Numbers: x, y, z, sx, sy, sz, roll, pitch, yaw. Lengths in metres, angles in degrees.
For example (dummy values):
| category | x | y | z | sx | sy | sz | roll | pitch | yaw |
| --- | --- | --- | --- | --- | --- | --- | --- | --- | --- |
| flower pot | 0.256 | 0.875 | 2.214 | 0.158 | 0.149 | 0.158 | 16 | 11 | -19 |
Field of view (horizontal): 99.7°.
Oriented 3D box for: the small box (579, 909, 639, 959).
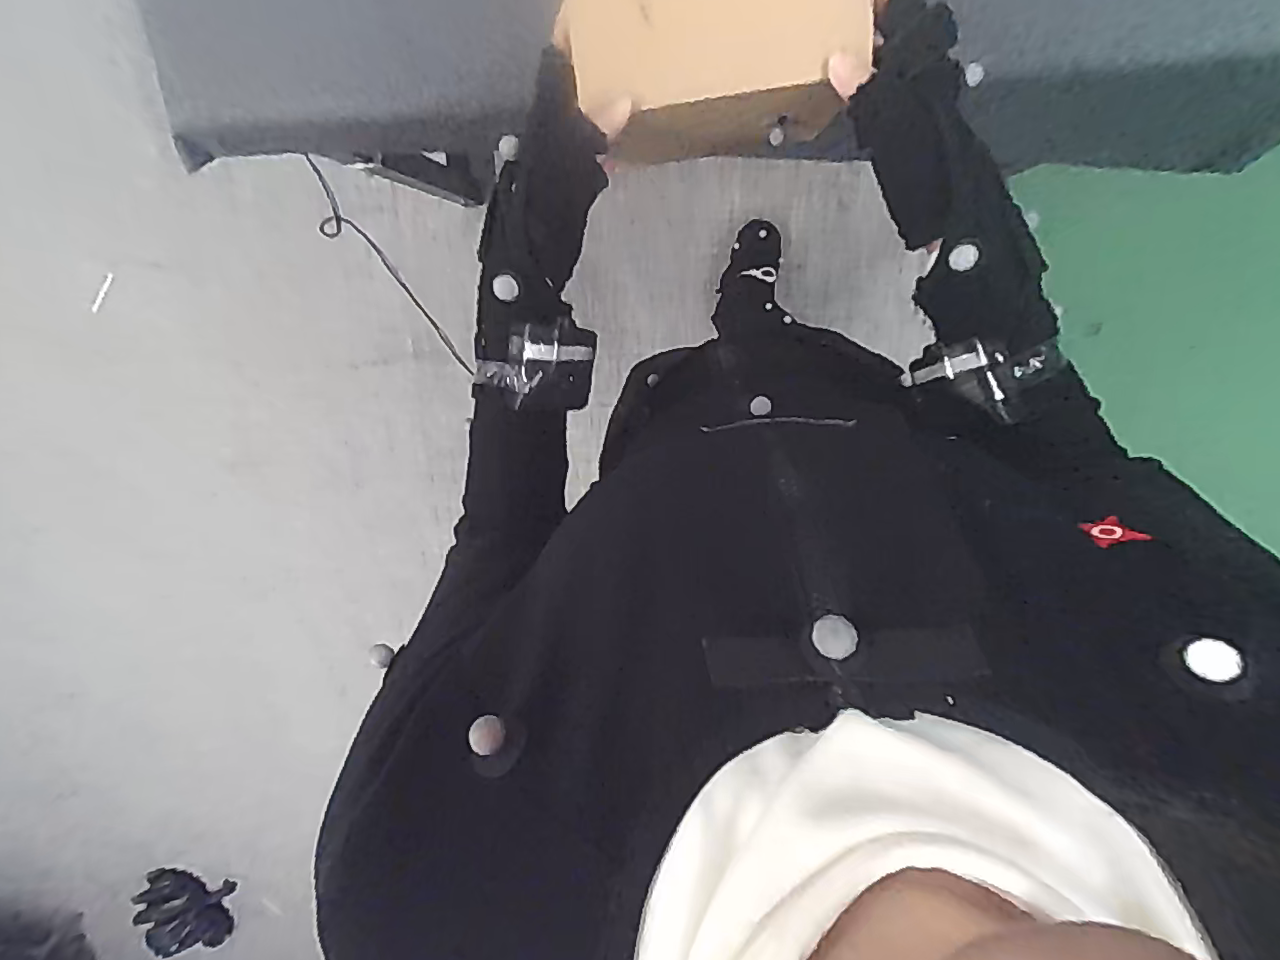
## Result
| category | x | y | z | sx | sy | sz | roll | pitch | yaw |
| --- | --- | --- | --- | --- | --- | --- | --- | --- | --- |
| small box | -0.110 | 1.725 | 1.994 | 0.179 | 0.176 | 0.168 | -7 | 108 | 11 |

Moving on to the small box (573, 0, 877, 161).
| category | x | y | z | sx | sy | sz | roll | pitch | yaw |
| --- | --- | --- | --- | --- | --- | --- | --- | --- | --- |
| small box | 0.049 | -0.344 | 0.376 | 0.179 | 0.176 | 0.168 | -6 | 108 | 9 |
